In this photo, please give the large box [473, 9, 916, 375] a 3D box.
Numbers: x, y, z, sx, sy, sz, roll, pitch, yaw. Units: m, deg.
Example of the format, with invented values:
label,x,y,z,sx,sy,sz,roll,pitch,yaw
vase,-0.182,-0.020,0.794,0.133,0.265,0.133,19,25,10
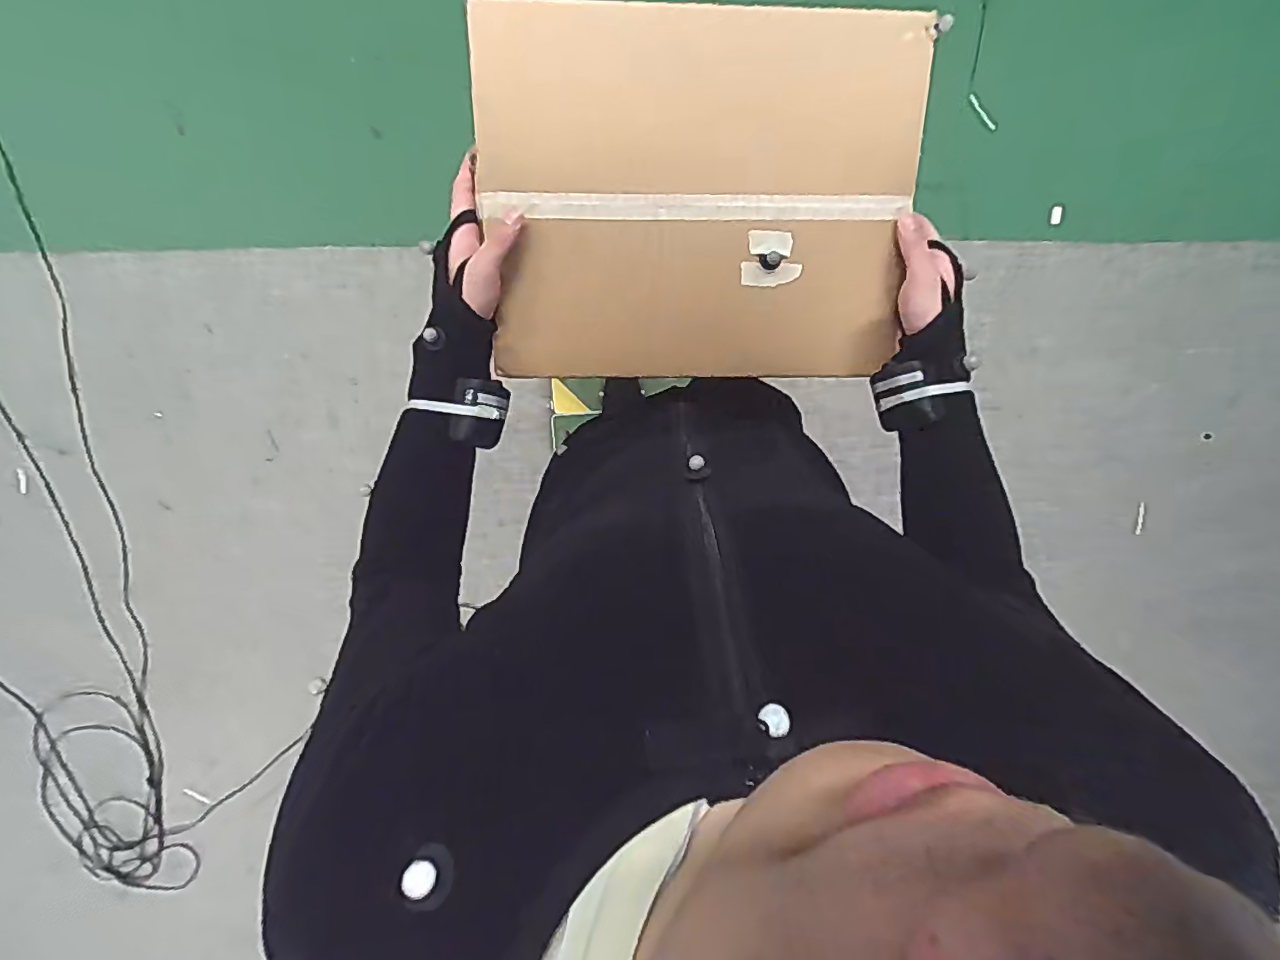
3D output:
label,x,y,z,sx,sy,sz,roll,pitch,yaw
large box,0.044,-0.302,0.658,0.408,0.320,0.320,-1,107,-4
